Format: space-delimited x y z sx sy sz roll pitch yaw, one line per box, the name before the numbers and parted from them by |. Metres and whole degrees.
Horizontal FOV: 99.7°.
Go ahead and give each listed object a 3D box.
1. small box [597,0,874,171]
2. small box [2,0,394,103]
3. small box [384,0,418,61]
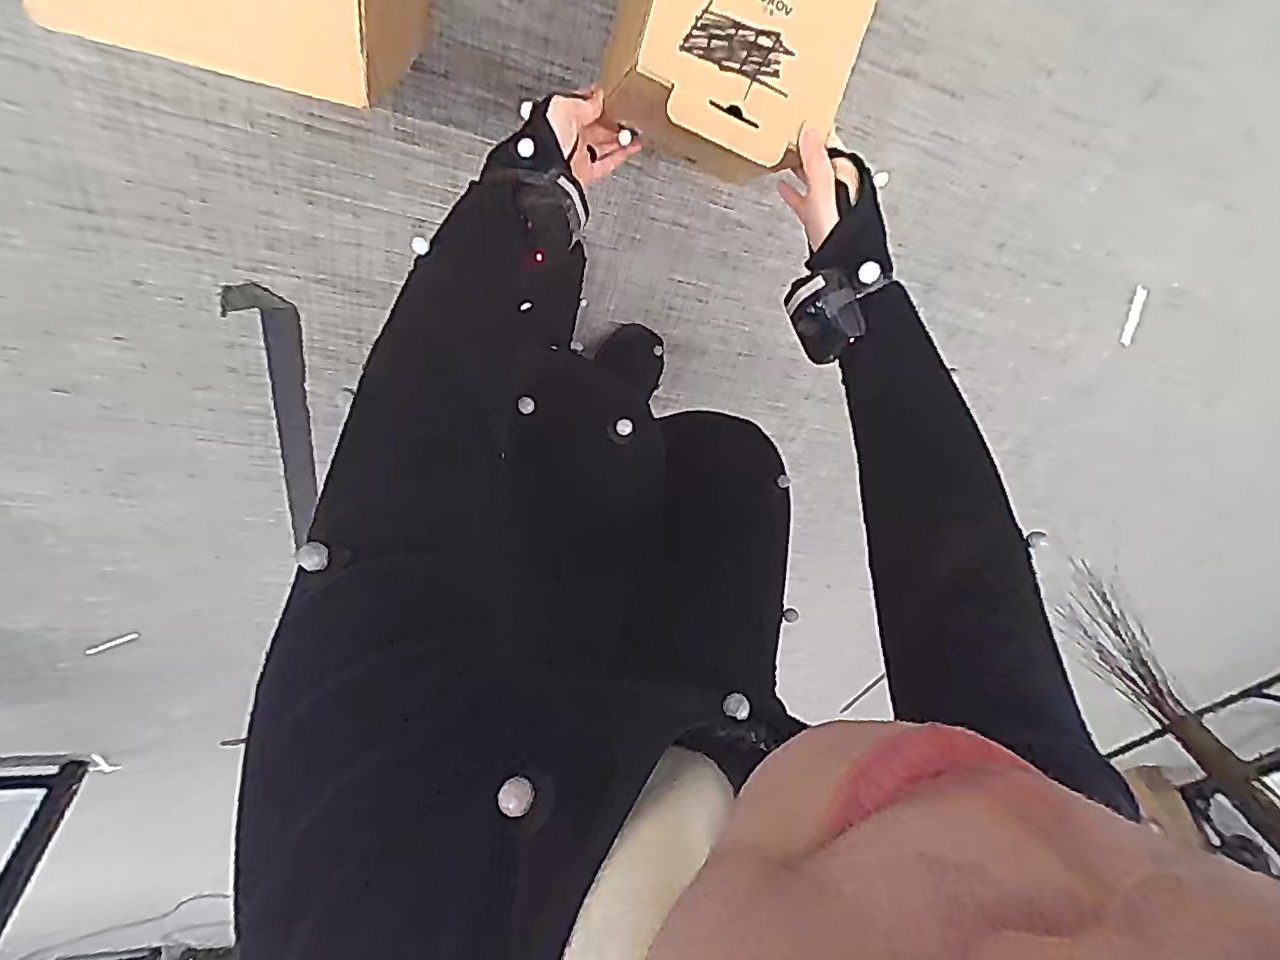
small box | 0.071 -0.384 0.448 0.168 0.176 0.179 12 107 -21
small box | -0.249 -0.358 0.318 0.179 0.176 0.168 6 133 -17
small box | -0.272 -0.475 0.430 0.179 0.176 0.168 6 133 -19
